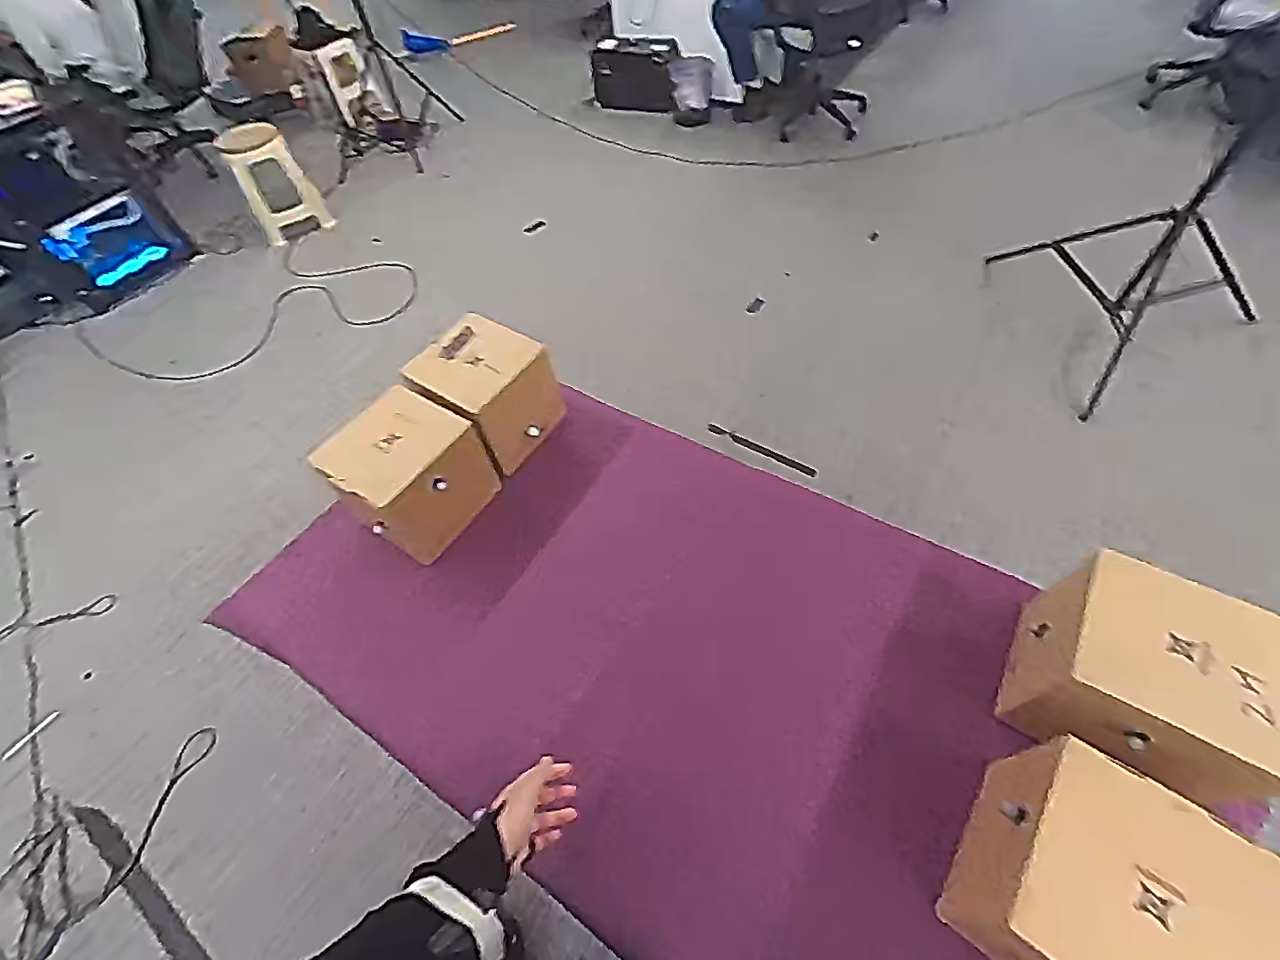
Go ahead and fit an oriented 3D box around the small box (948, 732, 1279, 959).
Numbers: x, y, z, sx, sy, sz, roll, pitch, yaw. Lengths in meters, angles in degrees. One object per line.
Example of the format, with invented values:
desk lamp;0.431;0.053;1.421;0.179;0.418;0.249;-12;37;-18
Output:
small box;0.409;0.371;0.487;0.168;0.176;0.179;30;61;25

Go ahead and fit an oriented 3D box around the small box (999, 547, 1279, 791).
small box;0.530;0.209;0.583;0.179;0.176;0.168;27;62;22

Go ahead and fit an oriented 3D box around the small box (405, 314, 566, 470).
small box;-0.252;-0.145;0.921;0.179;0.176;0.168;28;64;22
